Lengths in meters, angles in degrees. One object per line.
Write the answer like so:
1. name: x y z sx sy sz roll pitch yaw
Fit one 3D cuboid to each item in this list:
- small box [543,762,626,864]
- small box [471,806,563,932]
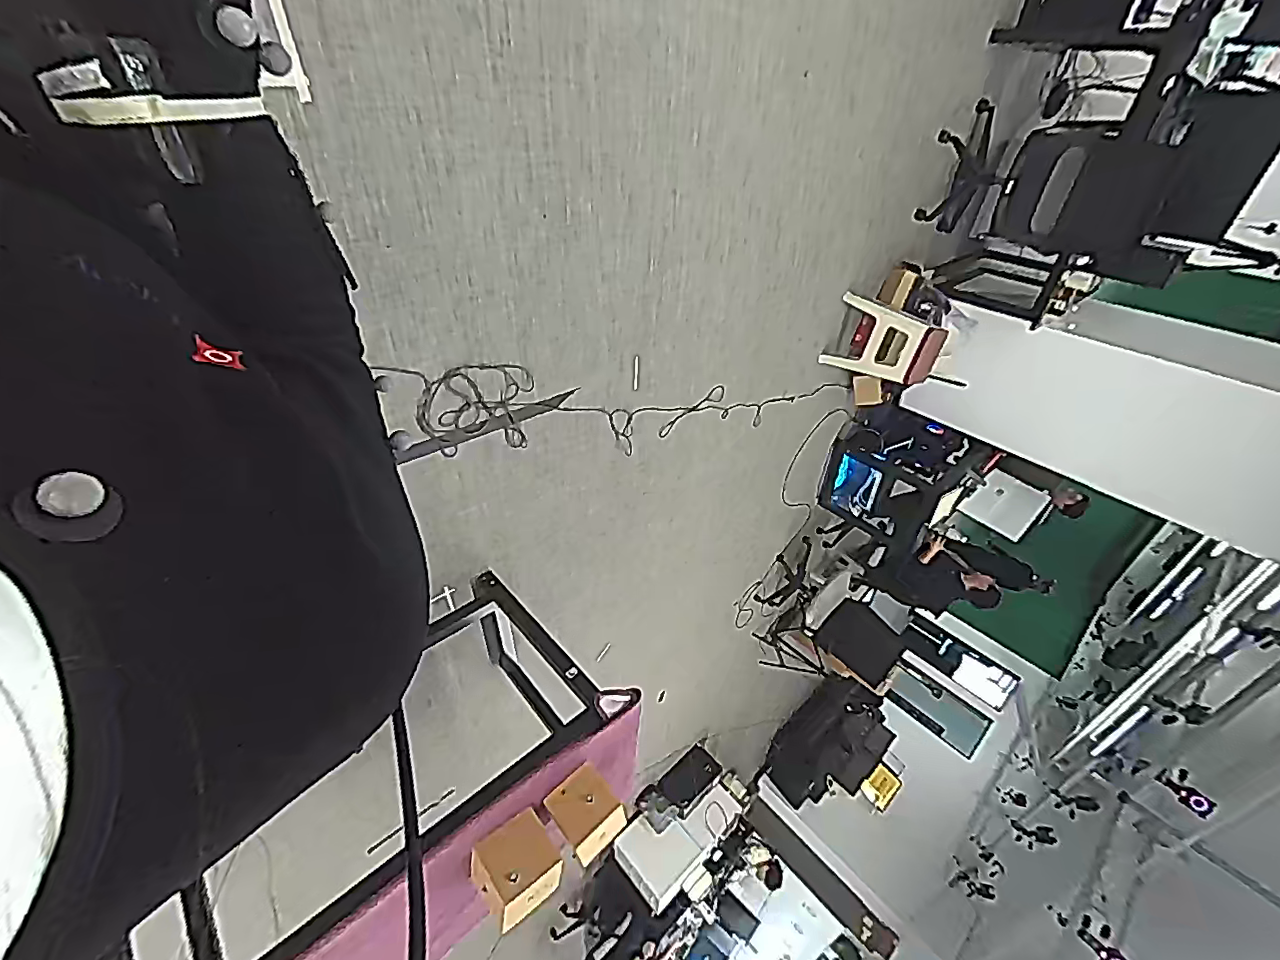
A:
1. small box: -0.162 0.963 1.579 0.168 0.176 0.179 -33 139 -28
2. small box: -0.330 1.017 1.427 0.179 0.176 0.168 -18 132 -40
